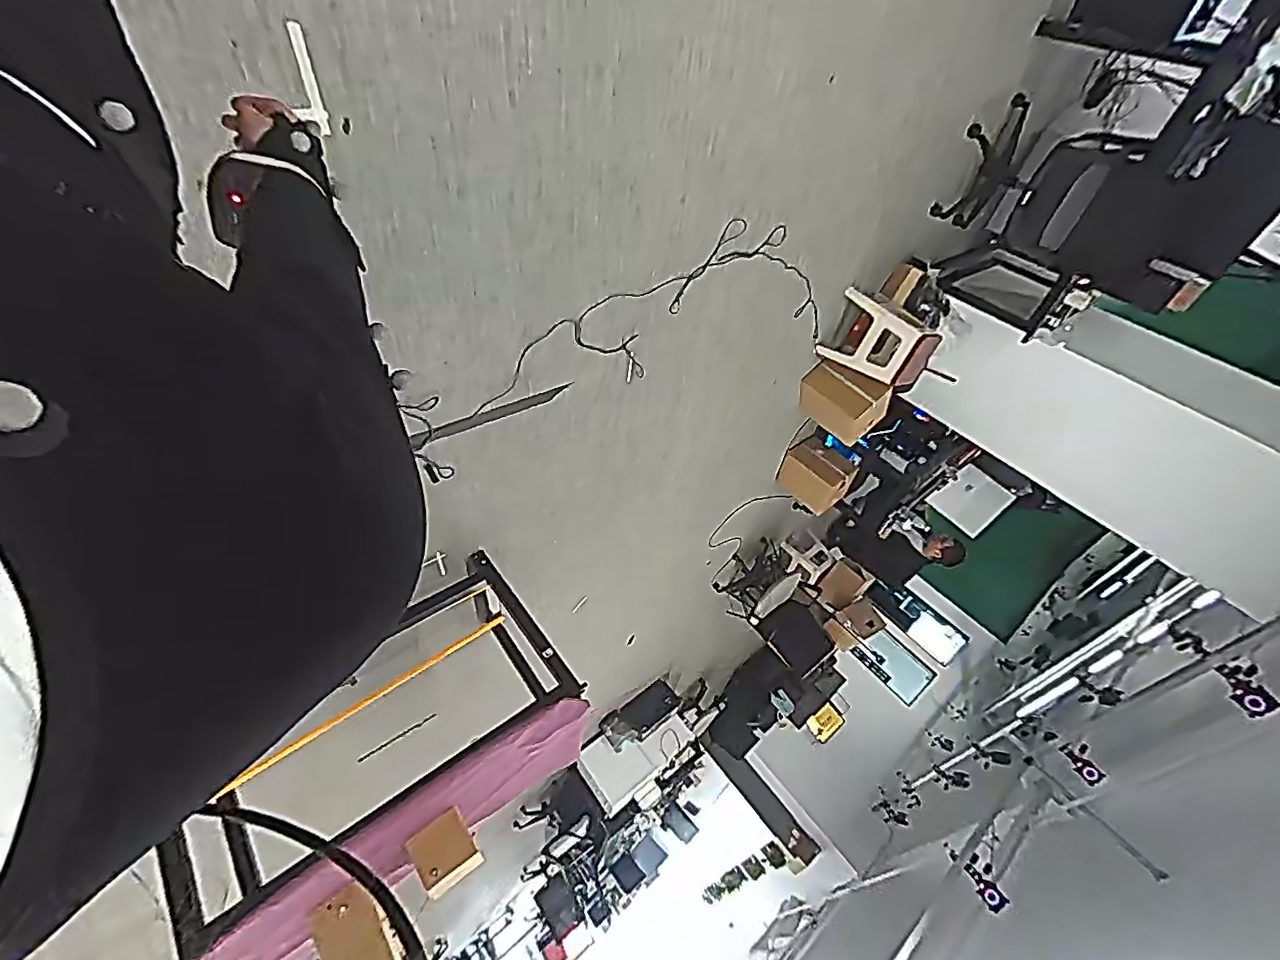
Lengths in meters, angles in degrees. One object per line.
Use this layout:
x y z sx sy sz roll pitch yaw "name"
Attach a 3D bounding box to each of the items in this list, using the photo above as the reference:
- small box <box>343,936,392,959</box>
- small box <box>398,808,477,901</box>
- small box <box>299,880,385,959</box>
-0.784 1.442 1.528 0.168 0.176 0.179 -25 144 -34 "small box"
-0.652 1.206 1.749 0.179 0.176 0.168 -26 146 -31 "small box"
-0.886 1.341 1.611 0.168 0.176 0.179 -24 144 -34 "small box"
